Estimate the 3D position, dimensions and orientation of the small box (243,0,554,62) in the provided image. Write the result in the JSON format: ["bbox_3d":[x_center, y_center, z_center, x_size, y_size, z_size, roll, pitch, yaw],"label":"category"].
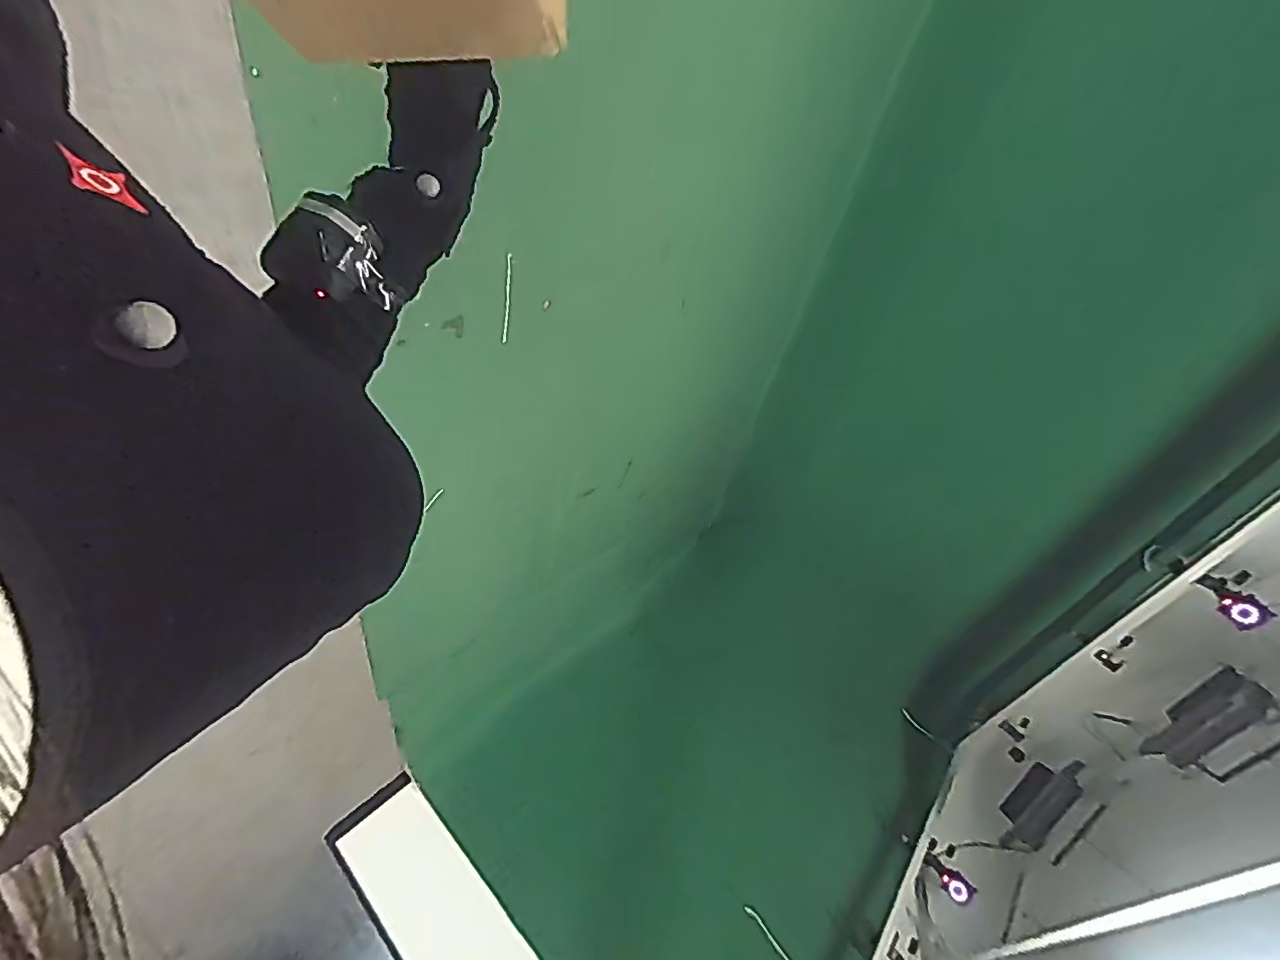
[{"bbox_3d":[-0.143,-0.345,0.262,0.168,0.176,0.179,-23,114,-85],"label":"small box"}]
